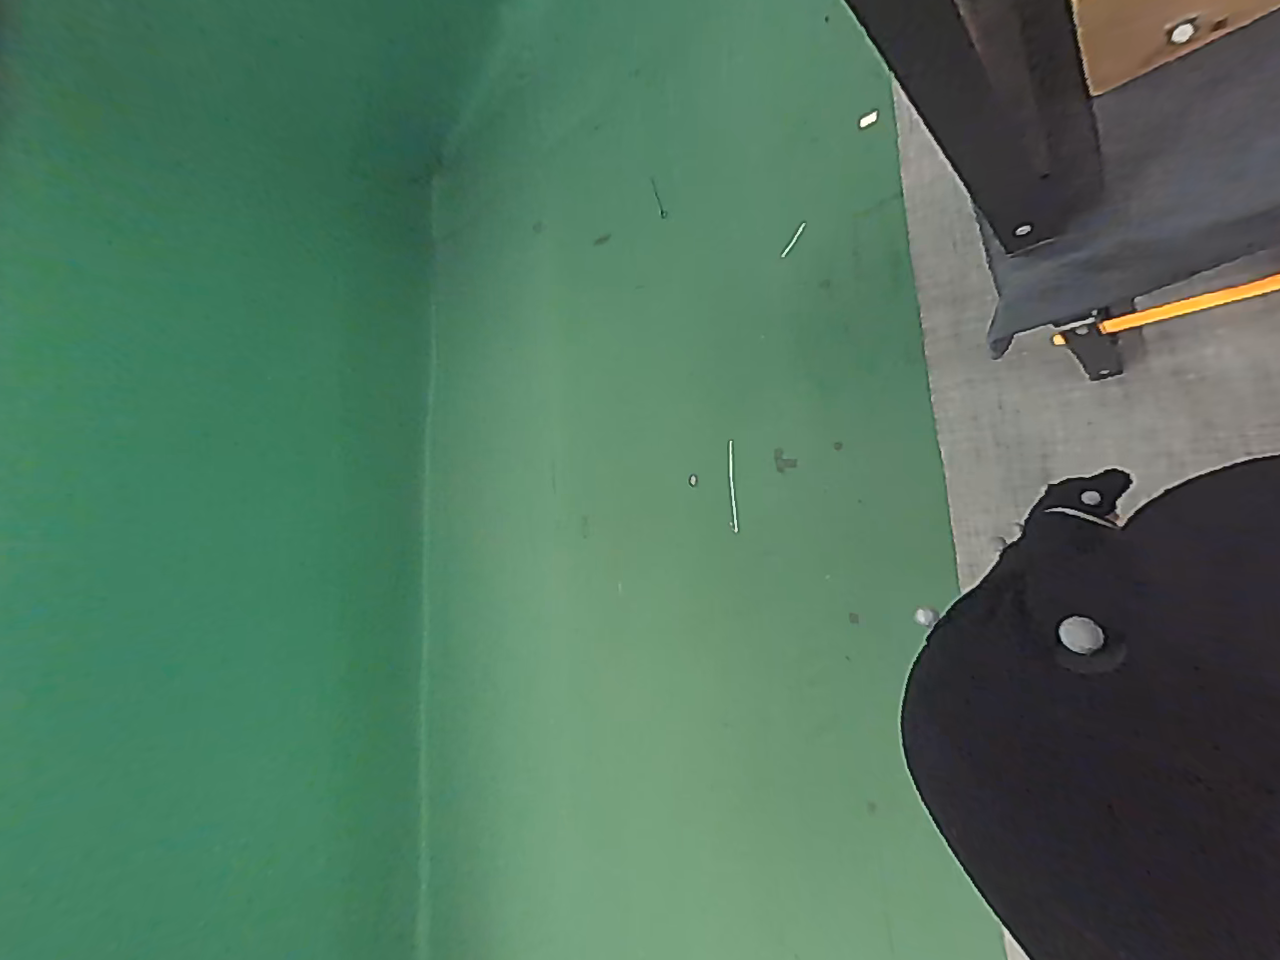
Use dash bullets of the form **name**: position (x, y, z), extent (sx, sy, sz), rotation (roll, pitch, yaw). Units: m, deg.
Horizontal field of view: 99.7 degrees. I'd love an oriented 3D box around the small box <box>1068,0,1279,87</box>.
- **small box**: position (0.531, -0.558, 0.541), extent (0.168, 0.176, 0.179), rotation (-11, 79, 44)
